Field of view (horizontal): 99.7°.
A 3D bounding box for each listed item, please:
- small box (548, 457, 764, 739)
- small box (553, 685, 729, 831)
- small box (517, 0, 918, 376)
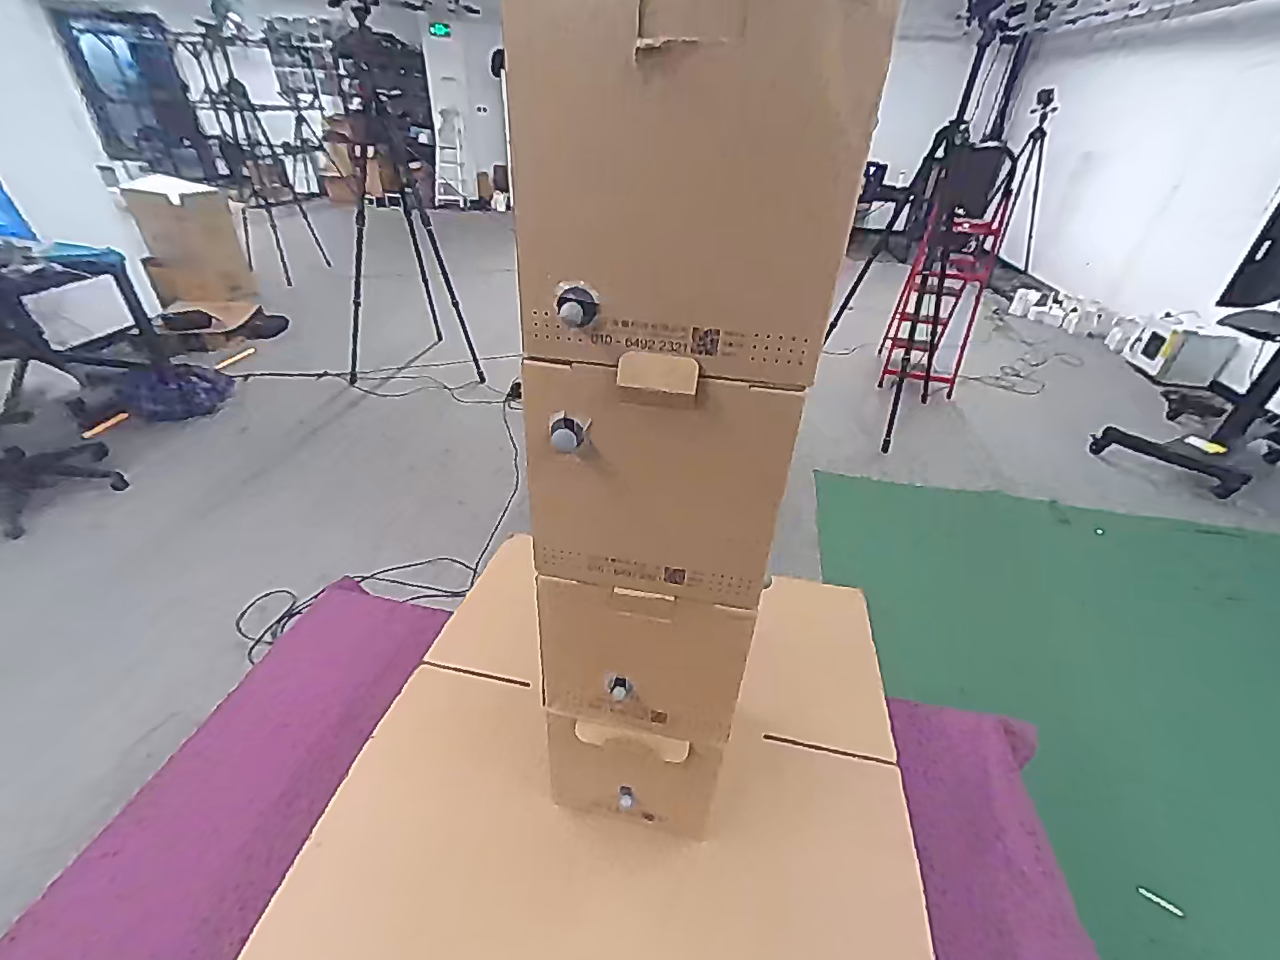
[{"bbox_3d":[0.018,0.102,0.505,0.168,0.176,0.179,8,34,7],"label":"small box"},{"bbox_3d":[0.010,0.239,0.594,0.168,0.176,0.179,9,34,8],"label":"small box"},{"bbox_3d":[0.036,-0.174,0.328,0.168,0.176,0.179,6,34,3],"label":"small box"}]
